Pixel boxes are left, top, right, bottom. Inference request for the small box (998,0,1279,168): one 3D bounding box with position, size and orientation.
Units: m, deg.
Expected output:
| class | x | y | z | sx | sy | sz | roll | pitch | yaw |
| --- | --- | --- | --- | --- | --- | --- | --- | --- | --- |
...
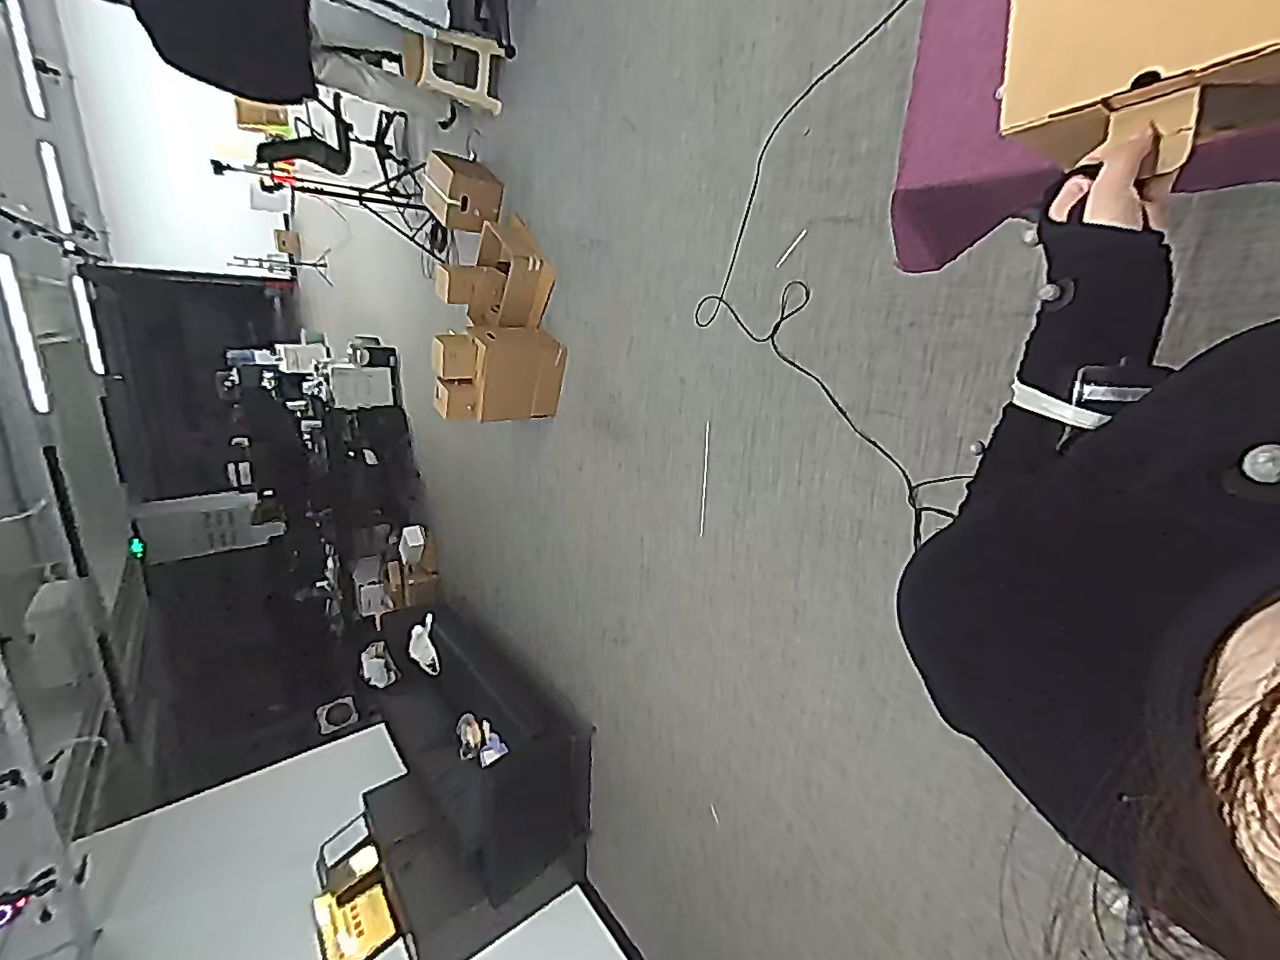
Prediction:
| class | x | y | z | sx | sy | sz | roll | pitch | yaw |
| --- | --- | --- | --- | --- | --- | --- | --- | --- | --- |
| small box | 0.391 | -0.357 | 0.393 | 0.168 | 0.176 | 0.179 | 12 | 110 | 51 |
